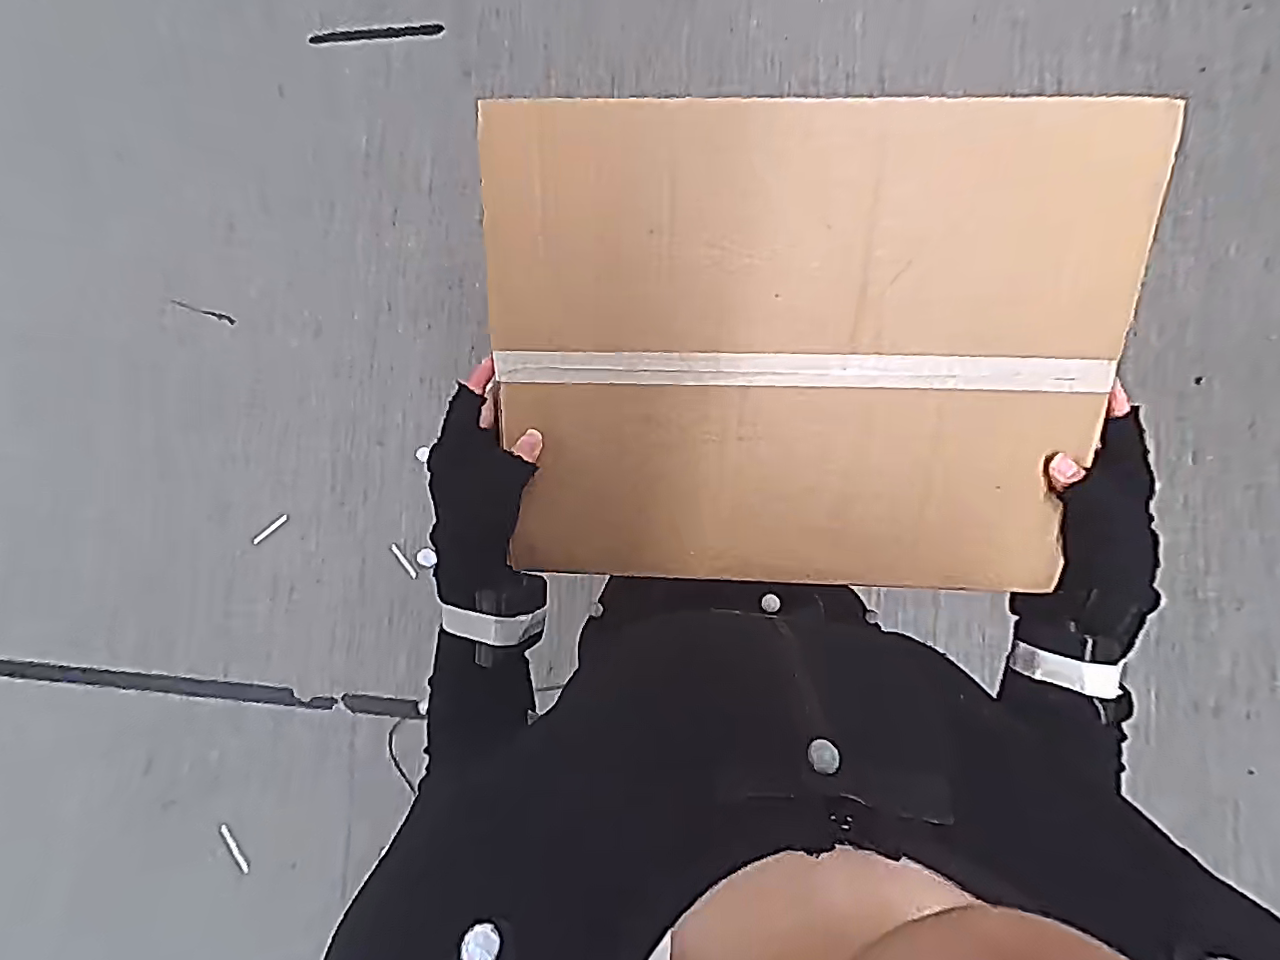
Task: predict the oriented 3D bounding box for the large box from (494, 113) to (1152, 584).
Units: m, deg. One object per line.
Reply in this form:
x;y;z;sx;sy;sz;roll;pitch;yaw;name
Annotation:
0.110;-0.116;0.513;0.408;0.320;0.320;3;108;3;large box
